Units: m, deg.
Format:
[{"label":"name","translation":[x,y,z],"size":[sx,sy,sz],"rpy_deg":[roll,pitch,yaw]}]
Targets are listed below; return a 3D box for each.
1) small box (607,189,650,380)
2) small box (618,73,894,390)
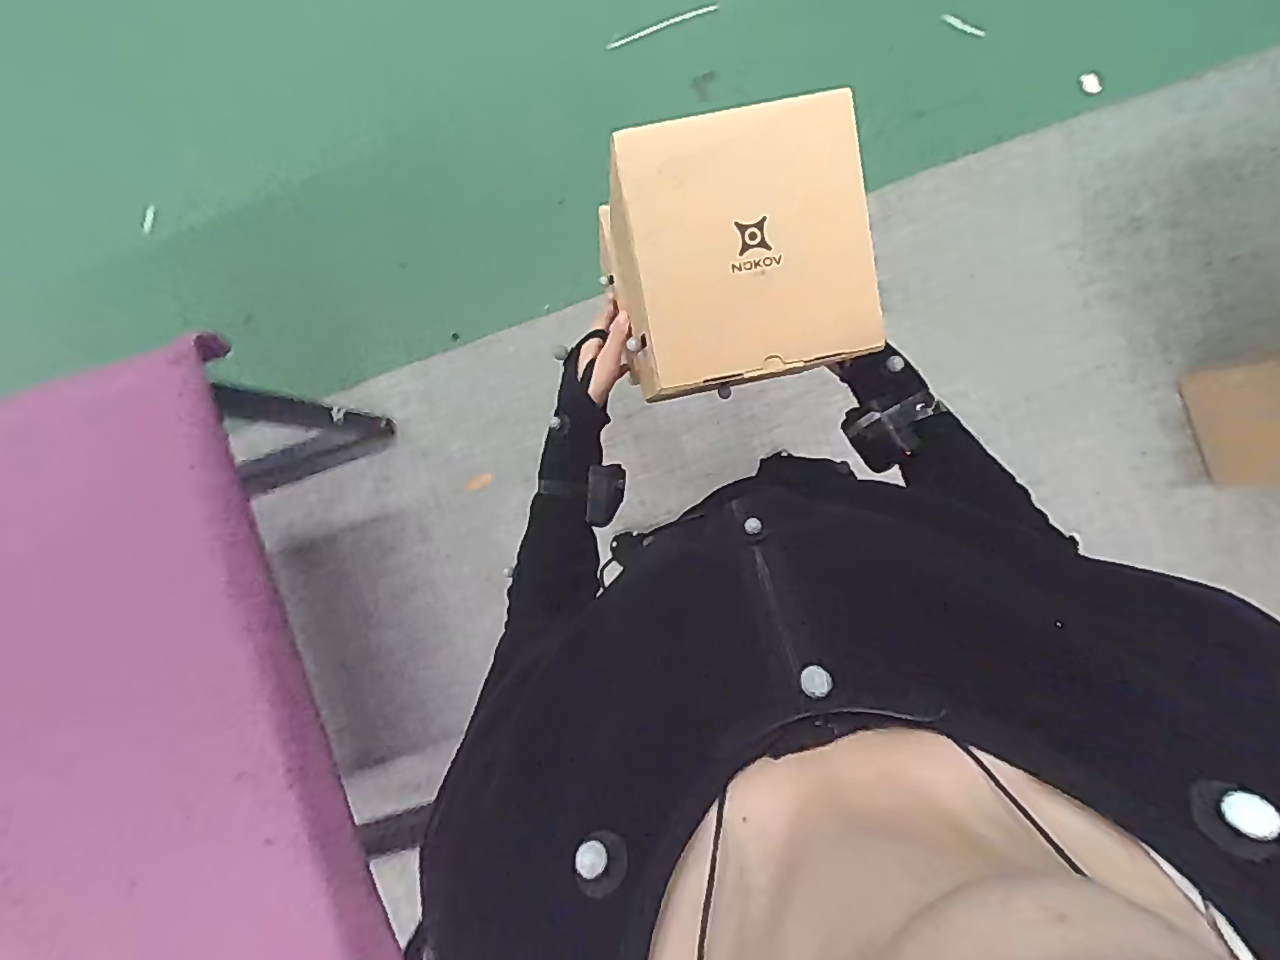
[{"label":"small box","translation":[0.063,-0.213,0.597],"size":[0.179,0.176,0.168],"rpy_deg":[-12,95,-2]},{"label":"small box","translation":[0.076,-0.176,0.439],"size":[0.168,0.176,0.179],"rpy_deg":[-11,97,-2]}]
